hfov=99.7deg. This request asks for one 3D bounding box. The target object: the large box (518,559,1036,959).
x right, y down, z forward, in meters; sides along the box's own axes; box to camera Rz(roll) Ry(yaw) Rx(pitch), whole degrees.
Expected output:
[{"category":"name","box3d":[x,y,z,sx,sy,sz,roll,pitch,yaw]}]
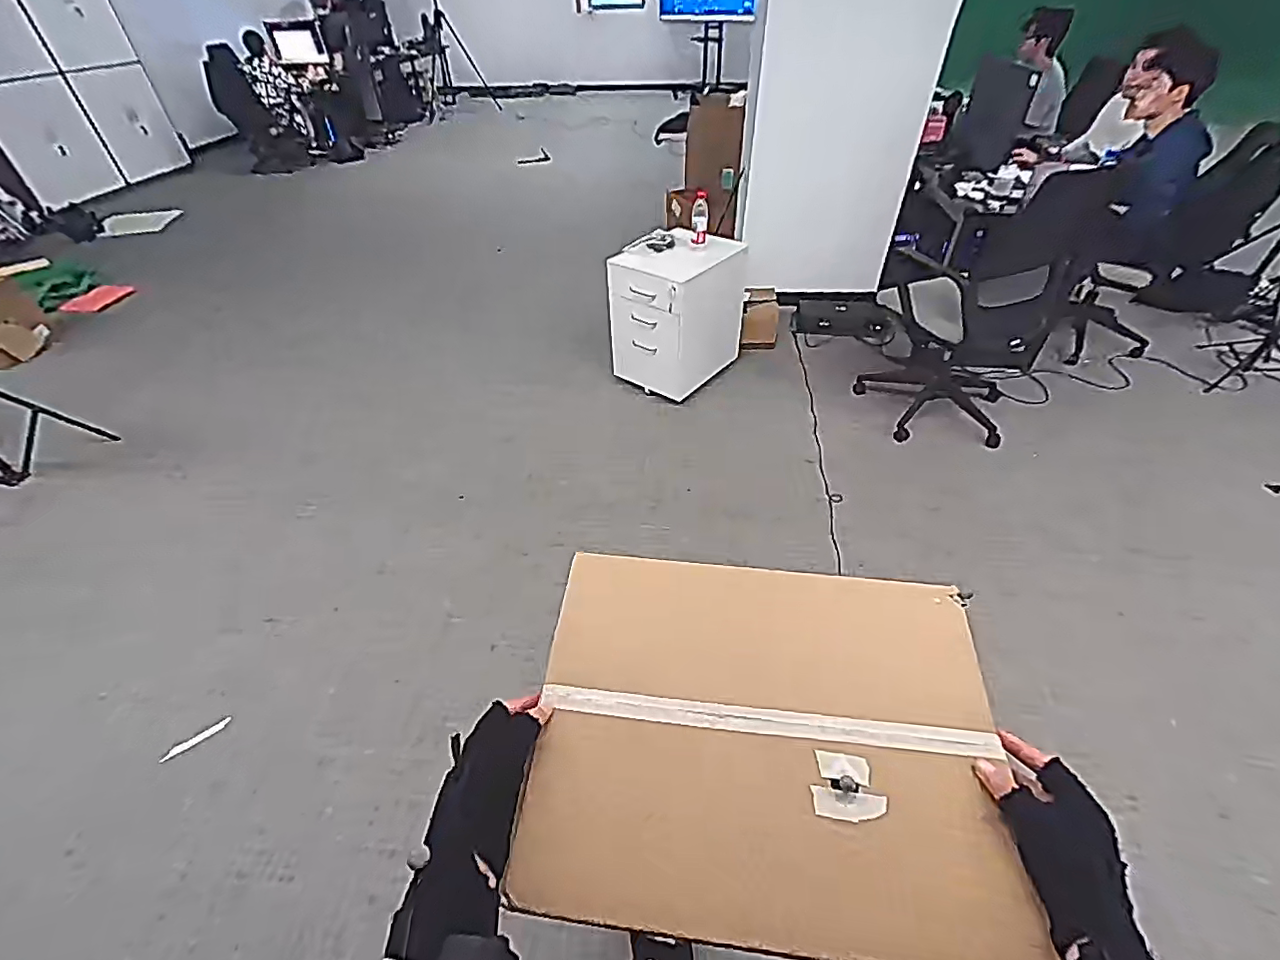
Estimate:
[{"category":"large box","box3d":[0.116,0.314,0.621,0.408,0.320,0.320,4,52,6]}]
